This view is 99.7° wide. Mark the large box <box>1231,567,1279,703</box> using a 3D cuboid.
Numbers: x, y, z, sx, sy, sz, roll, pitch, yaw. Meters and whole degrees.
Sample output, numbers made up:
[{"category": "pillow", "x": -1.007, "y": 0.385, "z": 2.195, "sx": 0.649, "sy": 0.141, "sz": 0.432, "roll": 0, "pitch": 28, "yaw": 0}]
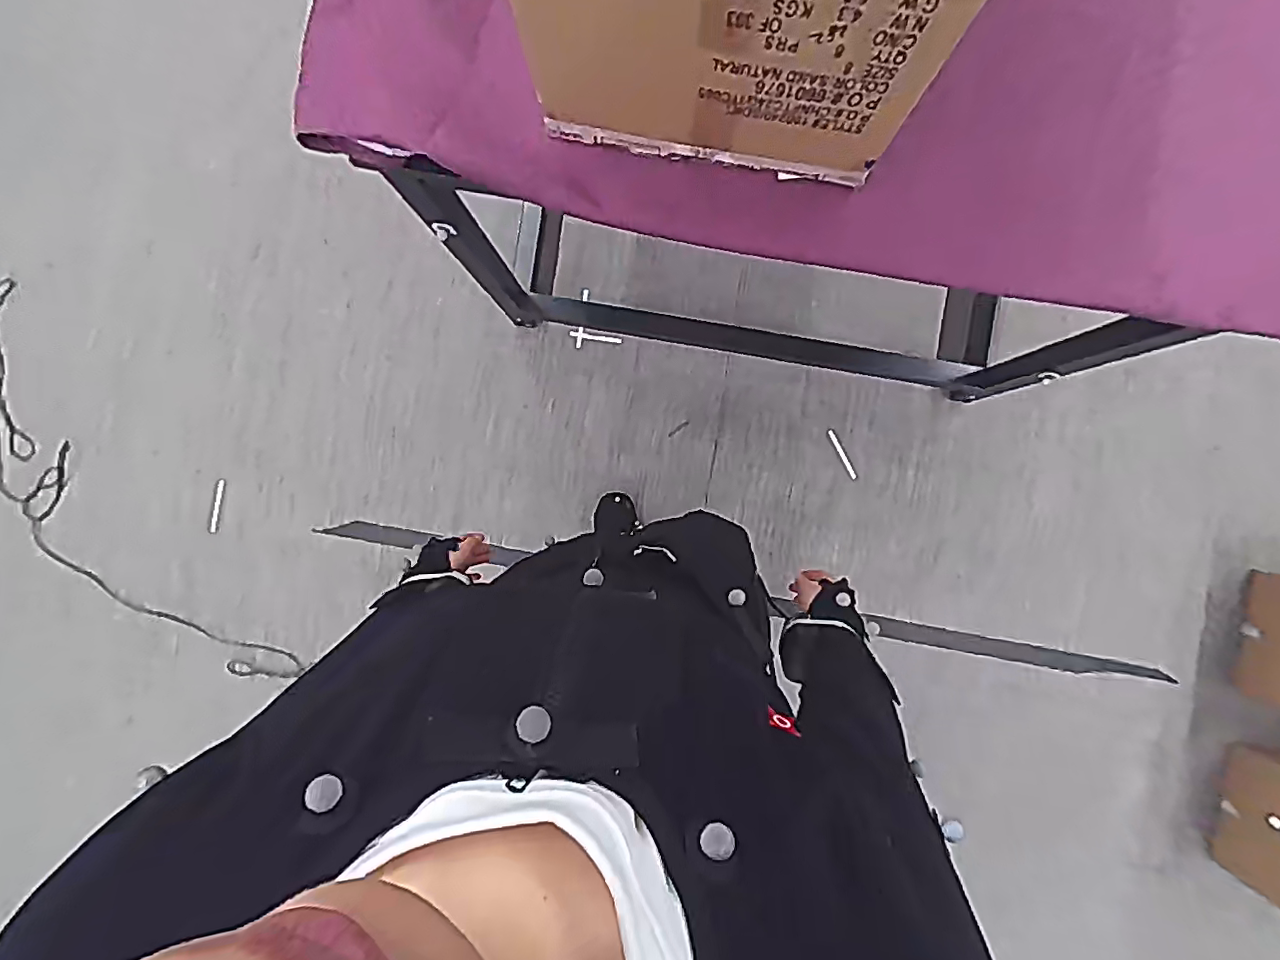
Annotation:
[{"category": "large box", "x": 1.681, "y": 0.391, "z": 1.189, "sx": 0.408, "sy": 0.320, "sz": 0.320, "roll": 8, "pitch": 89, "yaw": 2}]
